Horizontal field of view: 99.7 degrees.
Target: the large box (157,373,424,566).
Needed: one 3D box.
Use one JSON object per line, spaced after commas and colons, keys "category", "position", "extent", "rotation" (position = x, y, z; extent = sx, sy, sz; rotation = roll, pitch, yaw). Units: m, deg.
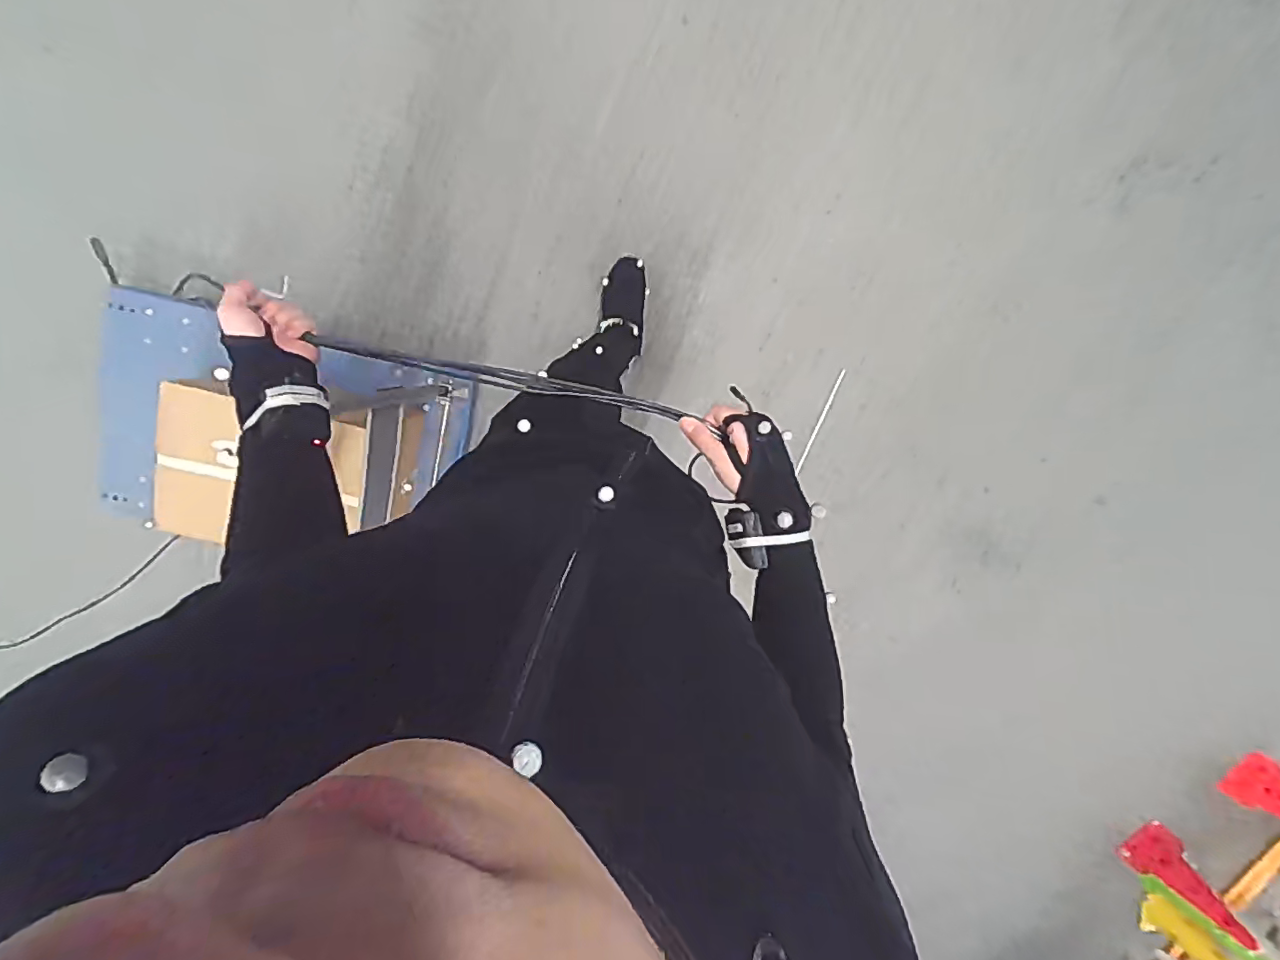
{"category": "large box", "position": [-0.756, -0.040, 1.224], "extent": [0.408, 0.320, 0.320], "rotation": [13, 103, -5]}
